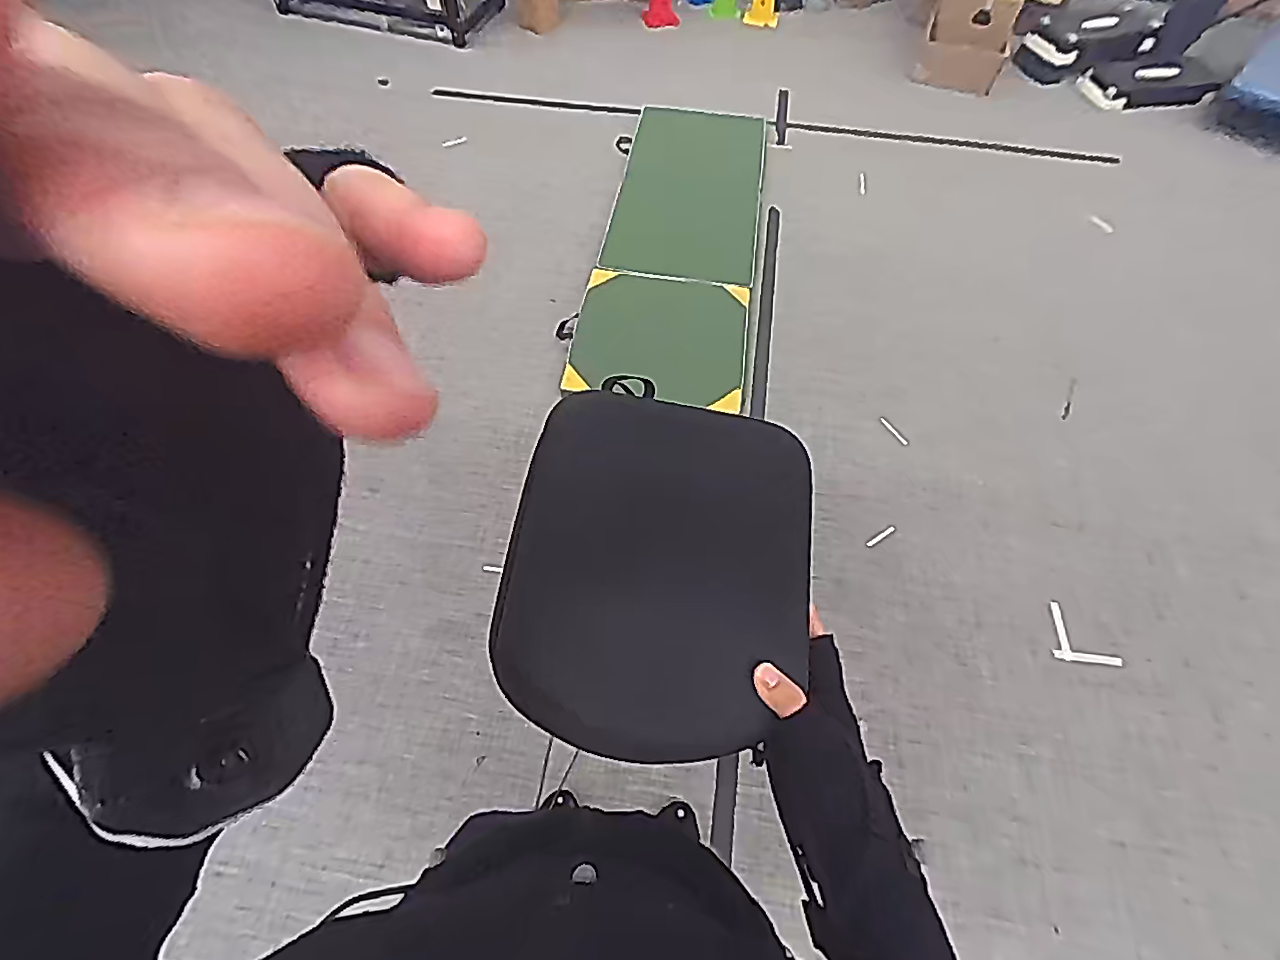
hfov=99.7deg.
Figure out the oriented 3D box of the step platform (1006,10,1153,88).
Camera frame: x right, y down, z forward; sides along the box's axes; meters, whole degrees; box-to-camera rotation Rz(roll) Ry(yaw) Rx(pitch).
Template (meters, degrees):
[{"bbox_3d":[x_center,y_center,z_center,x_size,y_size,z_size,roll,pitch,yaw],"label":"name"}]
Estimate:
[{"bbox_3d":[2.394,-2.350,2.943,0.684,0.204,0.286,-18,63,-10],"label":"step platform"}]
